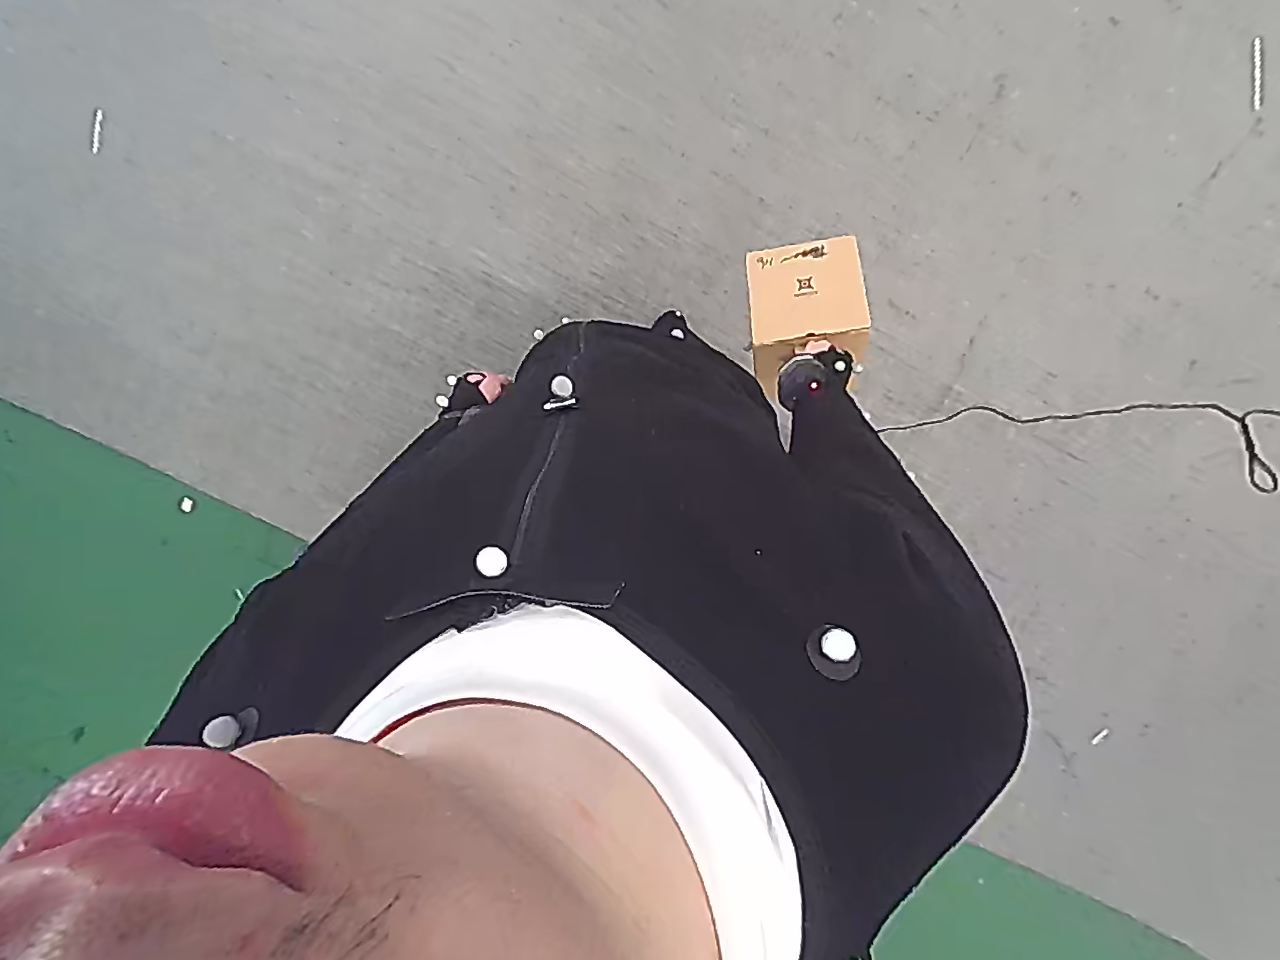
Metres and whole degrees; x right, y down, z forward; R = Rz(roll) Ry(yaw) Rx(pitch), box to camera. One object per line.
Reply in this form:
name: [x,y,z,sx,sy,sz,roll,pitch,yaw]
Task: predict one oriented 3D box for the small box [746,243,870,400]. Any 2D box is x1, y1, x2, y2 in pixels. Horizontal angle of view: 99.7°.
small box: [0.270,-0.245,0.884,0.168,0.176,0.179,-7,66,14]
